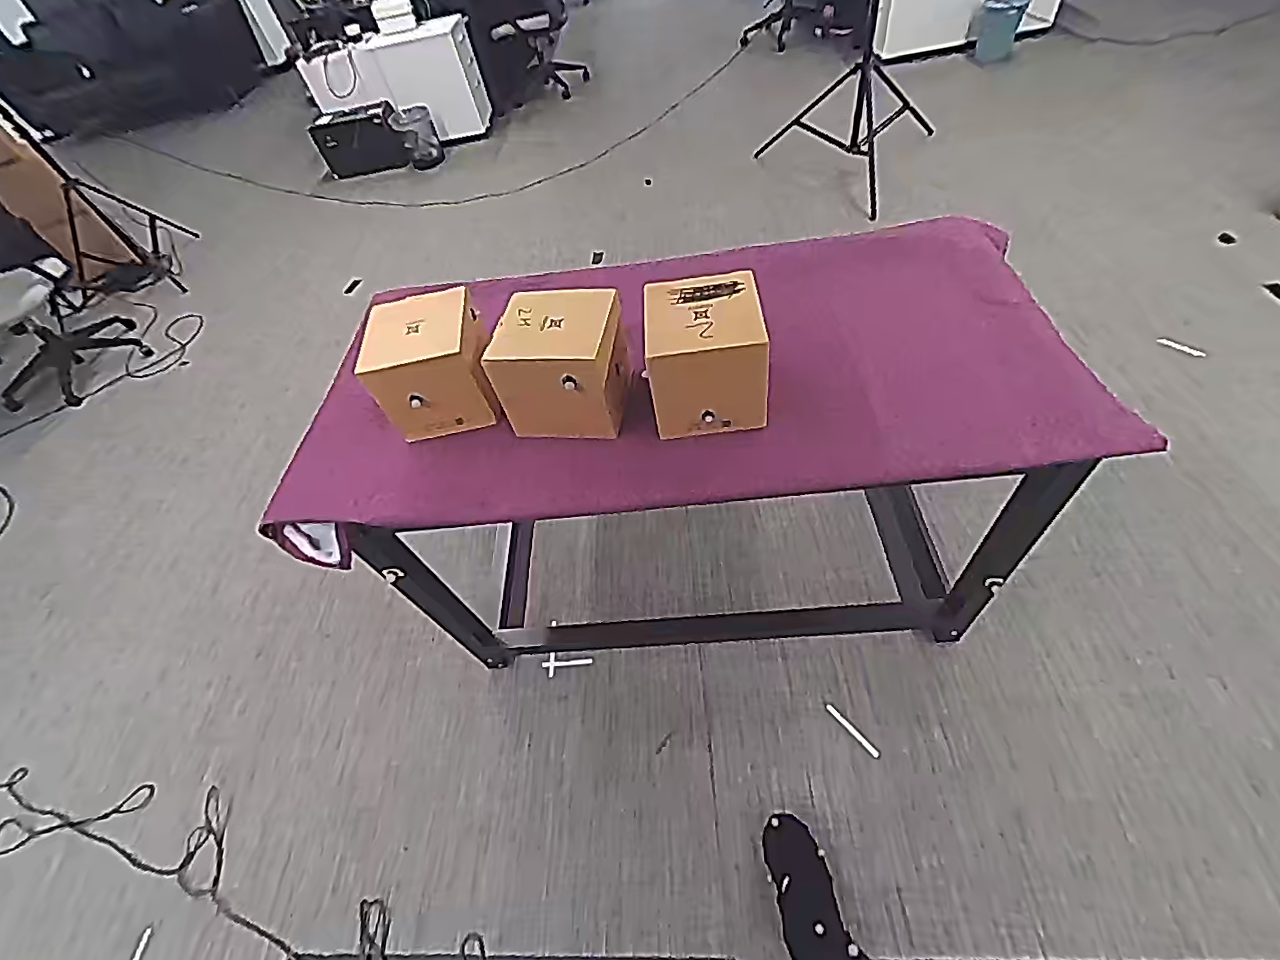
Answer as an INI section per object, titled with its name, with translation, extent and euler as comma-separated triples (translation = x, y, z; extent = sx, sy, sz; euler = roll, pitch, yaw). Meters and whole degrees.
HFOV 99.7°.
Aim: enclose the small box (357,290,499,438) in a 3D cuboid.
[small box]
translation = -0.349, -0.189, 0.925
extent = 0.168, 0.176, 0.179
euler = -13, 52, 2
